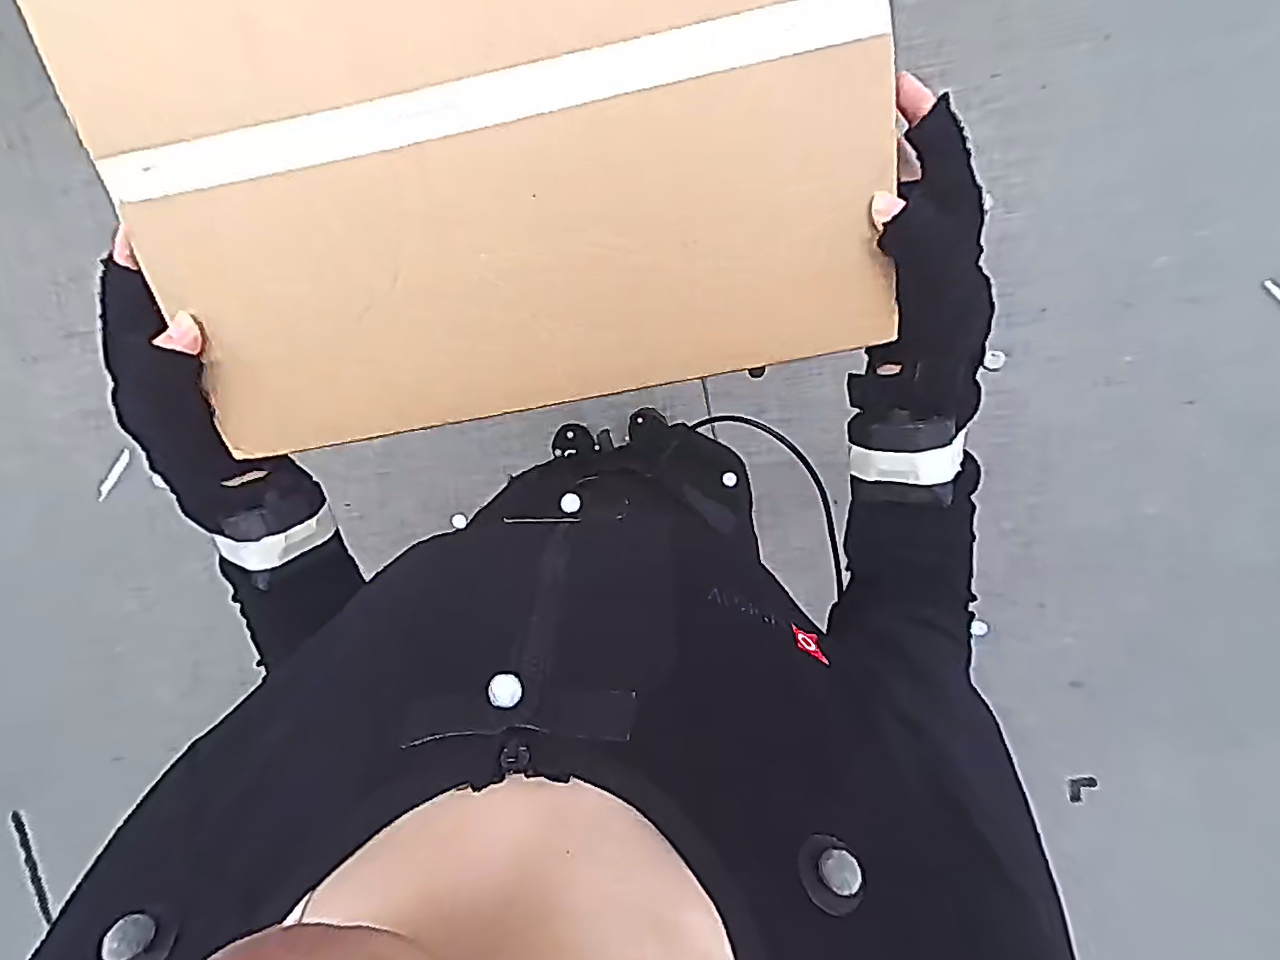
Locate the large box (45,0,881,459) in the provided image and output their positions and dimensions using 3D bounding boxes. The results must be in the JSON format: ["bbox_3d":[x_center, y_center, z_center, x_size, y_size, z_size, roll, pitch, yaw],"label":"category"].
[{"bbox_3d":[-0.078,-0.241,0.422,0.408,0.320,0.320,-10,109,4],"label":"large box"}]
